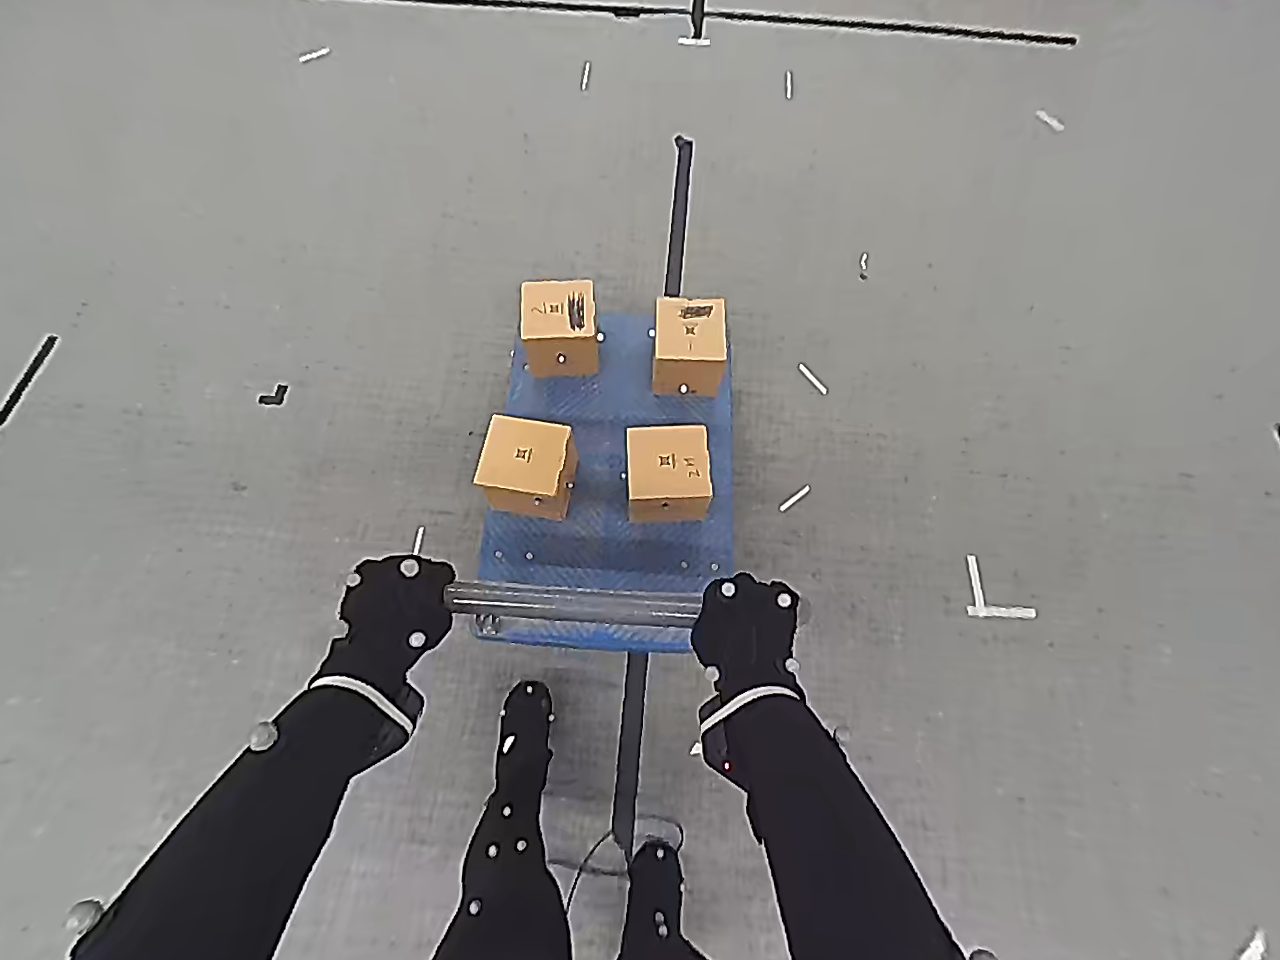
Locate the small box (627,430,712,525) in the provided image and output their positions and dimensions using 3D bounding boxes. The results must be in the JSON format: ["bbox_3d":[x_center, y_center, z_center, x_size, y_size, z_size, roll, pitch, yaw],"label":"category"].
[{"bbox_3d":[0.061,0.000,1.219,0.179,0.176,0.168,-2,69,-2],"label":"small box"}]

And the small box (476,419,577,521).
[{"bbox_3d":[-0.246,-0.016,1.220,0.179,0.176,0.168,9,68,1],"label":"small box"}]

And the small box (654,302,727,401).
[{"bbox_3d":[0.121,-0.316,1.346,0.168,0.176,0.179,2,69,0],"label":"small box"}]
